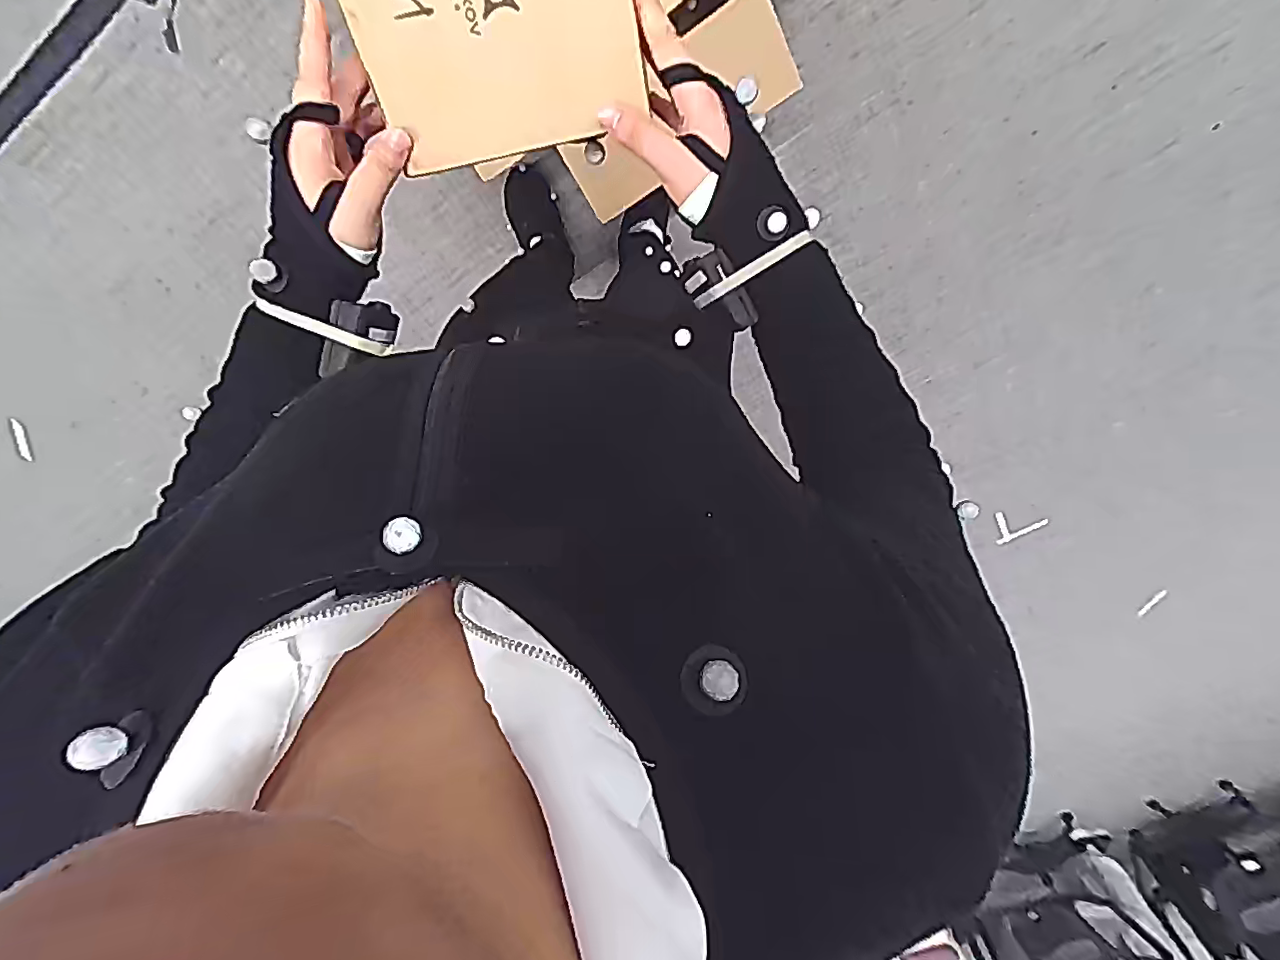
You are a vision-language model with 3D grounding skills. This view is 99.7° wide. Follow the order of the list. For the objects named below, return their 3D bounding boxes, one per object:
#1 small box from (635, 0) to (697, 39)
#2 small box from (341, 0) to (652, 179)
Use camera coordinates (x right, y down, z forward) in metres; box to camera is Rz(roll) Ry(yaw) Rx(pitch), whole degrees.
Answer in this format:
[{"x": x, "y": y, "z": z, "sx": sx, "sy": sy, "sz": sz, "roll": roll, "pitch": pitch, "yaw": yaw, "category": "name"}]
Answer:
[{"x": 0.038, "y": -0.819, "z": 0.818, "sx": 0.179, "sy": 0.176, "sz": 0.168, "roll": -32, "pitch": 118, "yaw": 13, "category": "small box"}, {"x": -0.091, "y": -0.332, "z": 0.390, "sx": 0.179, "sy": 0.176, "sz": 0.168, "roll": -9, "pitch": 122, "yaw": 8, "category": "small box"}]
